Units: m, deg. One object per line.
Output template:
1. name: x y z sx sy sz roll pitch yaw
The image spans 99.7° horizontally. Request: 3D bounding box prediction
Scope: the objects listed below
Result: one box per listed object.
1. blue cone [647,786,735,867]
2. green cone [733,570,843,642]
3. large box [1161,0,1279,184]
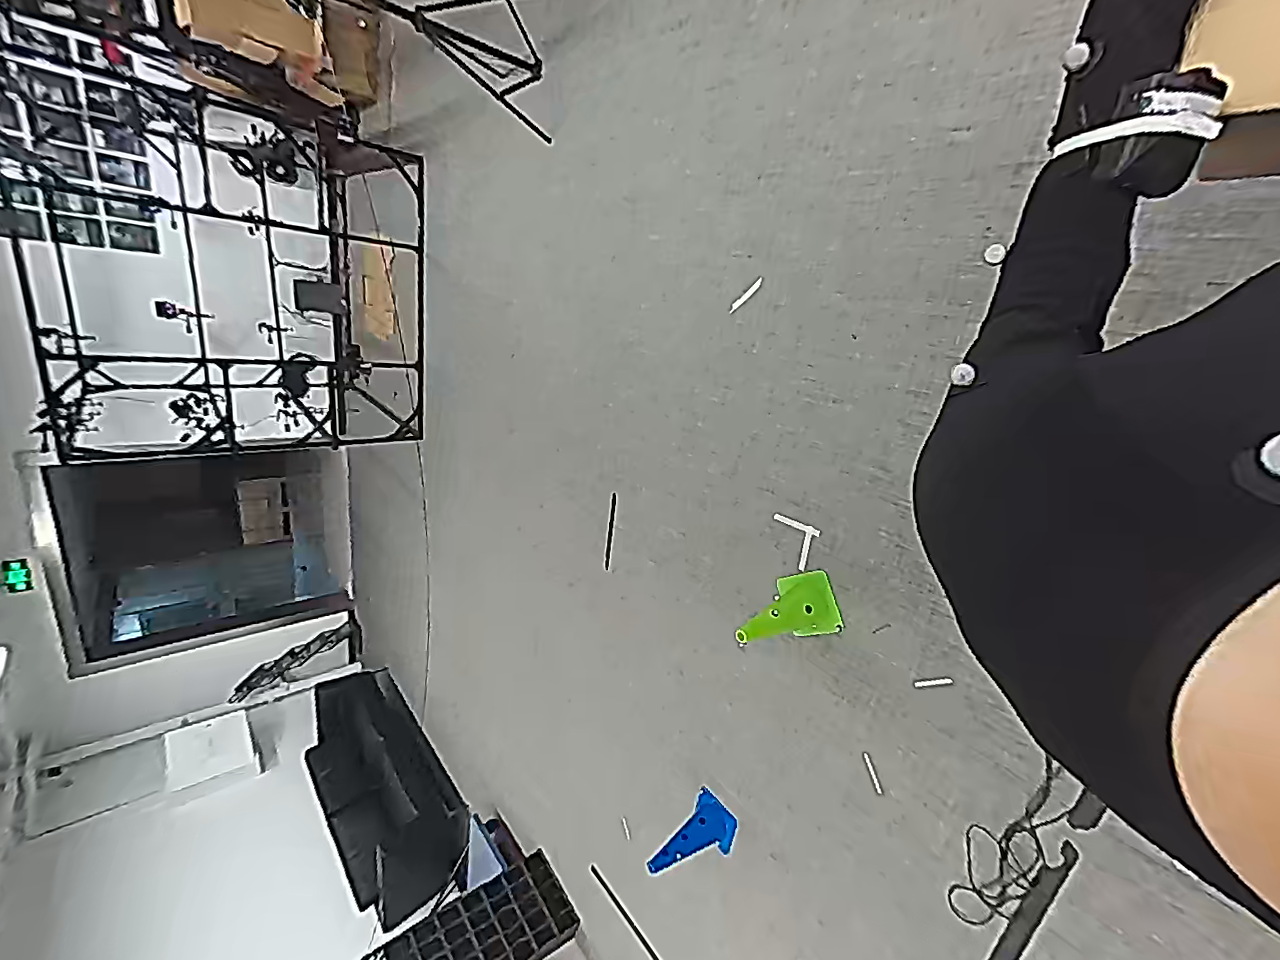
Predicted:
1. blue cone: 0.187 1.419 2.140 0.192 0.380 0.193 32 120 43
2. green cone: 0.423 0.421 1.661 0.202 0.368 0.200 -28 74 50
3. large box: 0.610 -0.376 0.292 0.408 0.320 0.320 22 119 43
